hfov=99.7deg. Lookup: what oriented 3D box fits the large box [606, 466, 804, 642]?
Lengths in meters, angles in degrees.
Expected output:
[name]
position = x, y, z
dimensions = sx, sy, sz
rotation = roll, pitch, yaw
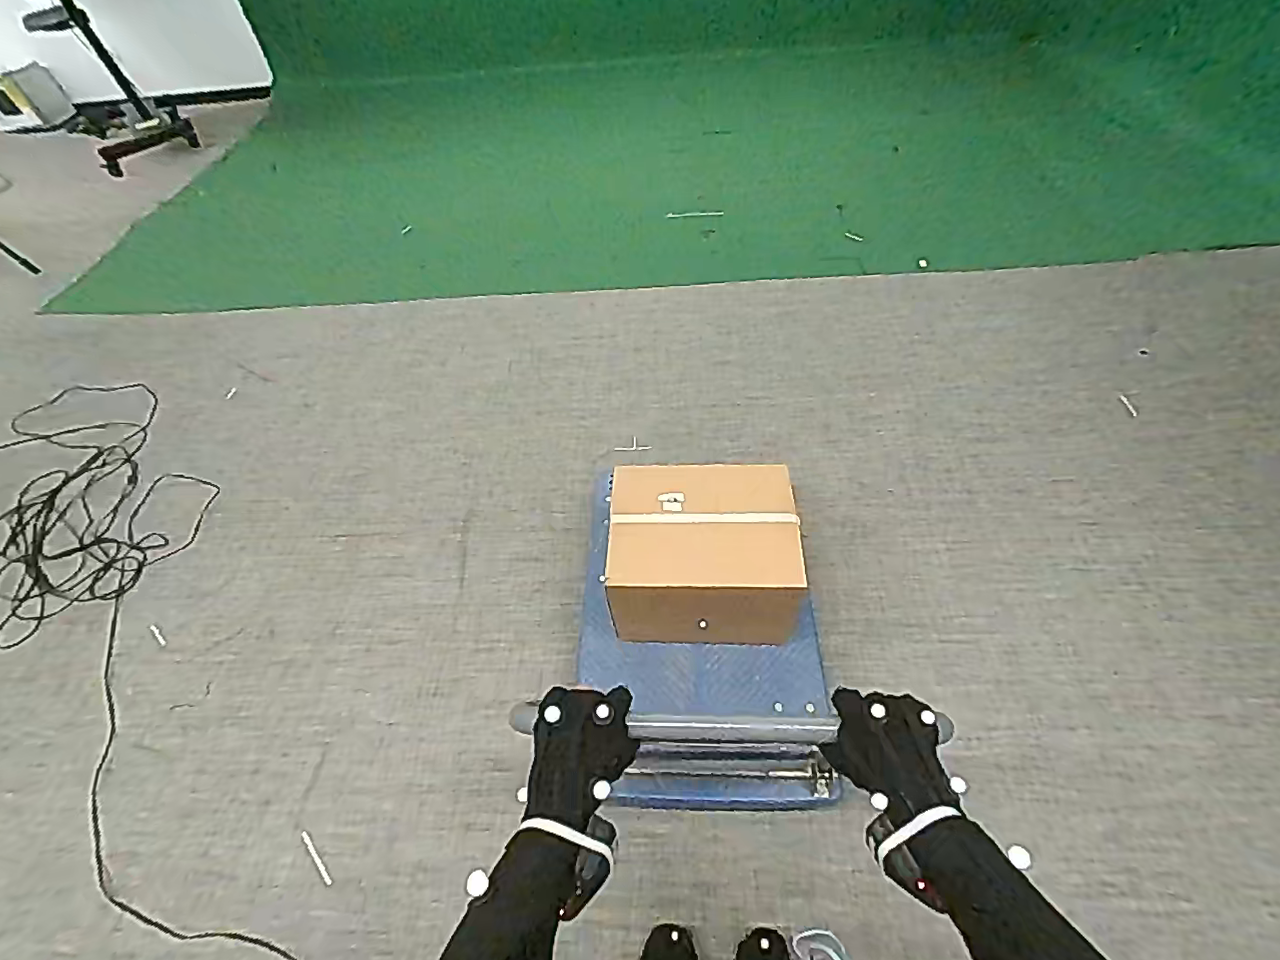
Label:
[large box]
position = 0.146, 0.186, 1.293
dimensions = 0.408, 0.320, 0.320
rotation = -1, 52, 5
